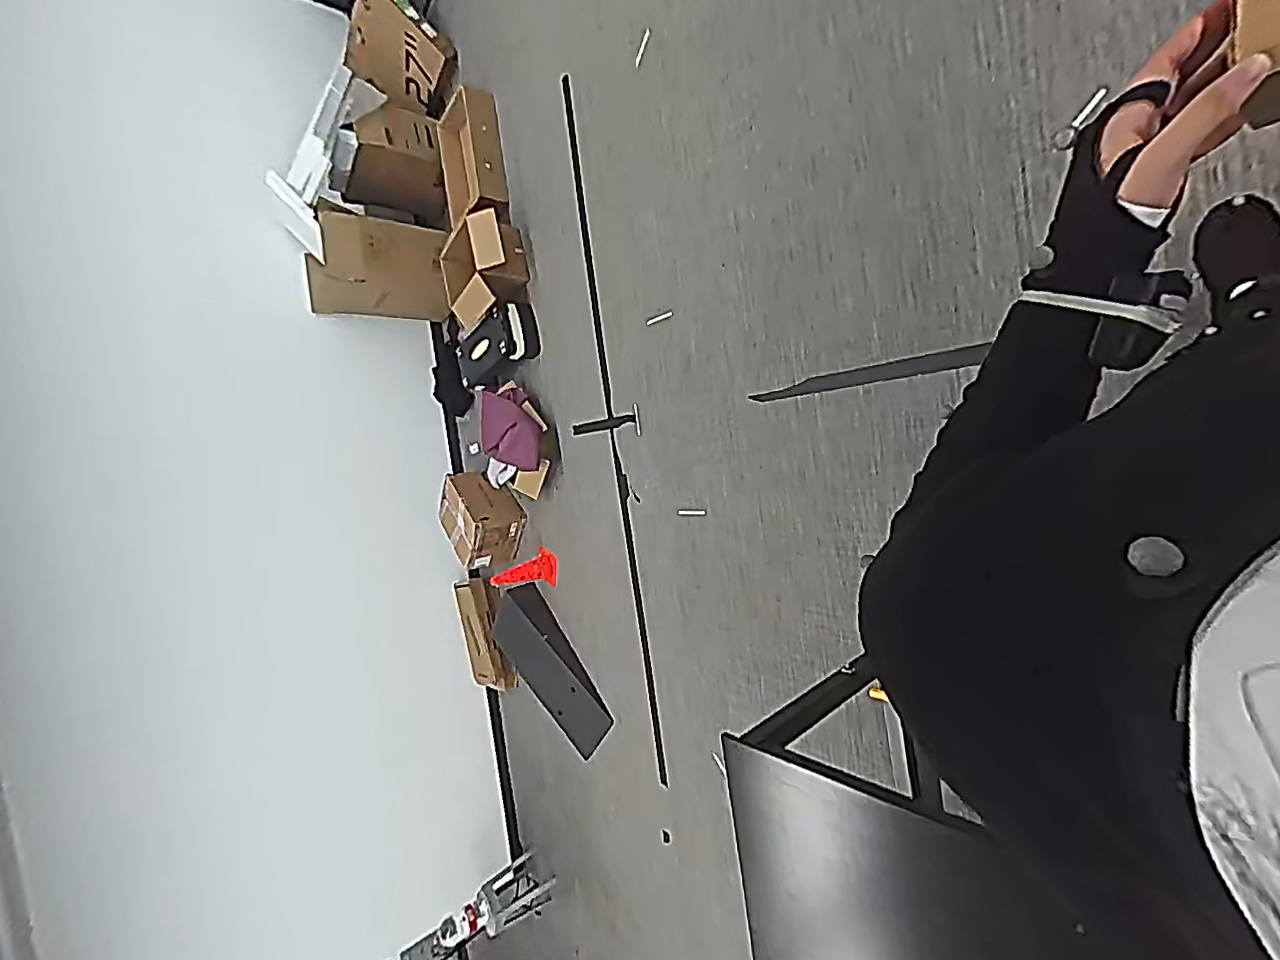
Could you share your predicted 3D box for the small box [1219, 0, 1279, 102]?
[{"bbox_3d":[0.440,-0.336,0.283,0.179,0.176,0.168,1,105,51],"label":"small box"}]
